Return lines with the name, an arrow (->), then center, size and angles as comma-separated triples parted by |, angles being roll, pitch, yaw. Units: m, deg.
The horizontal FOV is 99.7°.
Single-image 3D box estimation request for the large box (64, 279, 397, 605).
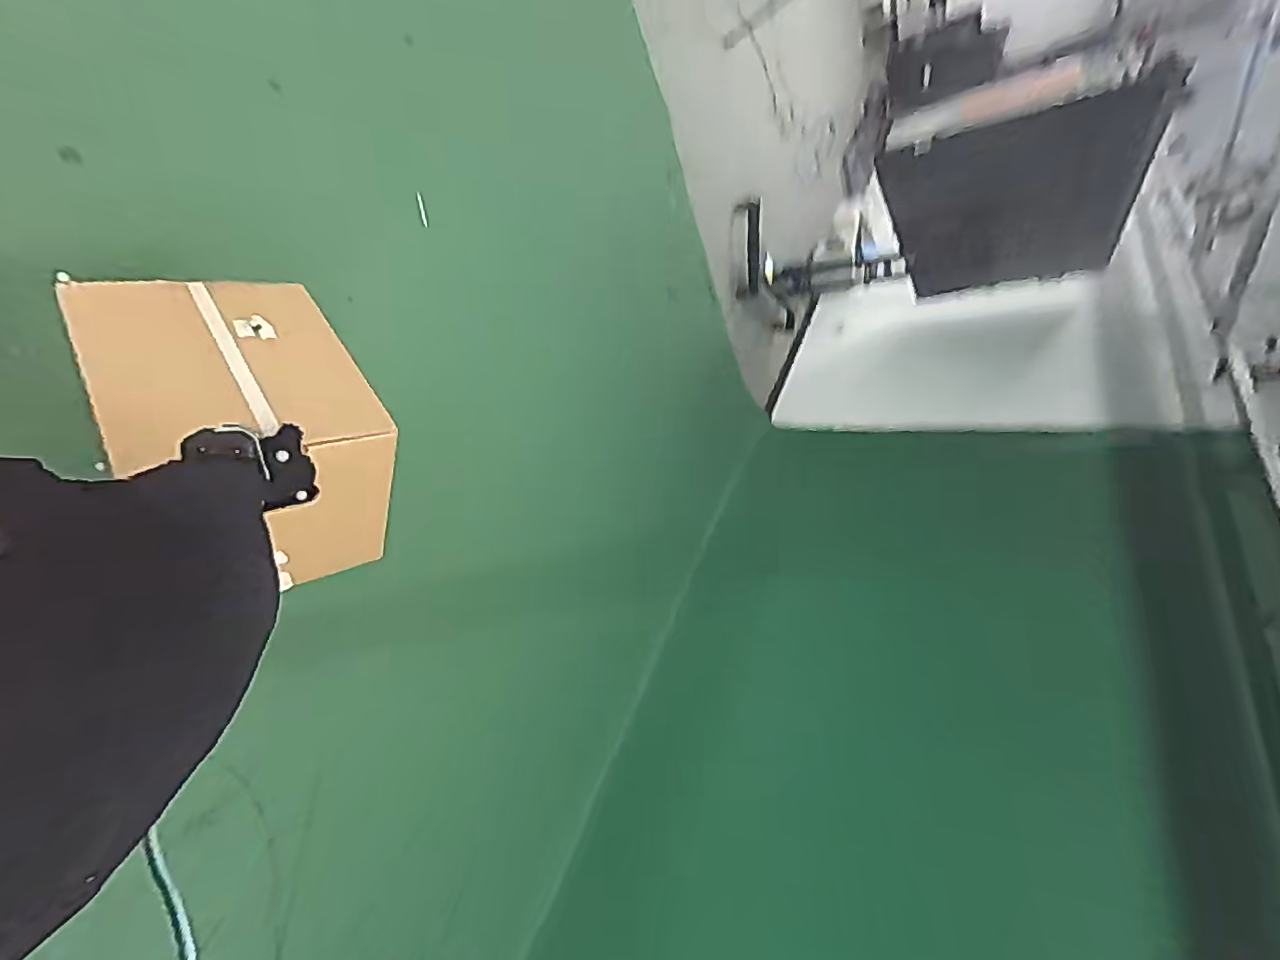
large box -> -0.643, -0.081, 0.887 | 0.320, 0.408, 0.320 | -18, 147, -42
